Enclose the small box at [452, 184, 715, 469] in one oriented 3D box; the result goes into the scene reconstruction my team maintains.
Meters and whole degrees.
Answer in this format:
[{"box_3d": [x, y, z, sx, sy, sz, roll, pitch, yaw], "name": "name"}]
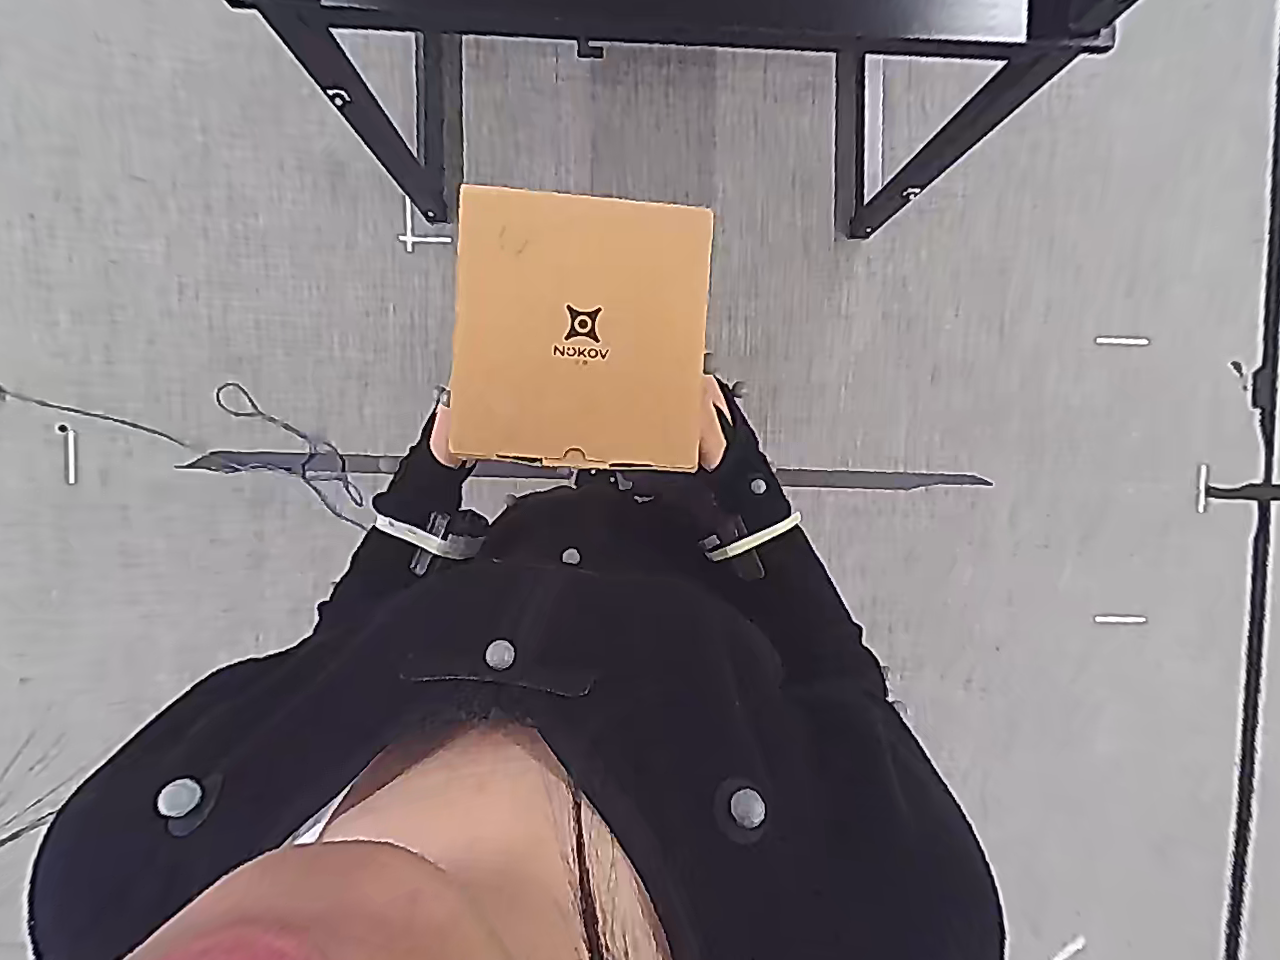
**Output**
[{"box_3d": [-0.043, -0.101, 0.433, 0.168, 0.176, 0.179, 3, 93, -4], "name": "small box"}]
